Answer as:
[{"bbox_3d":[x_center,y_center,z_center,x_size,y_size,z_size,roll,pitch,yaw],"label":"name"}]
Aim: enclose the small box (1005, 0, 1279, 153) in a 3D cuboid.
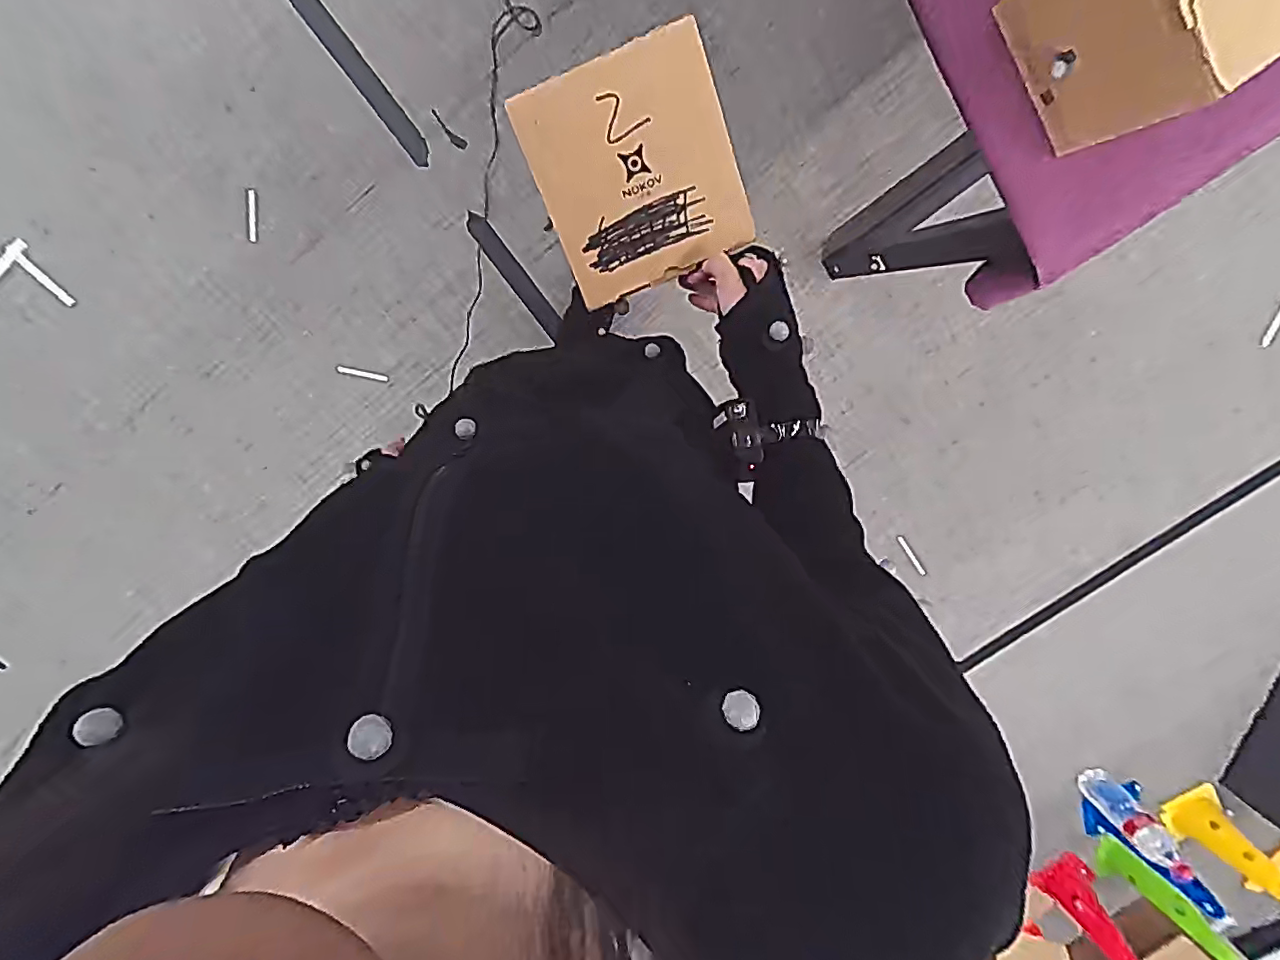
[{"bbox_3d":[0.478,-0.432,0.472,0.179,0.176,0.168,-36,105,8],"label":"small box"}]
